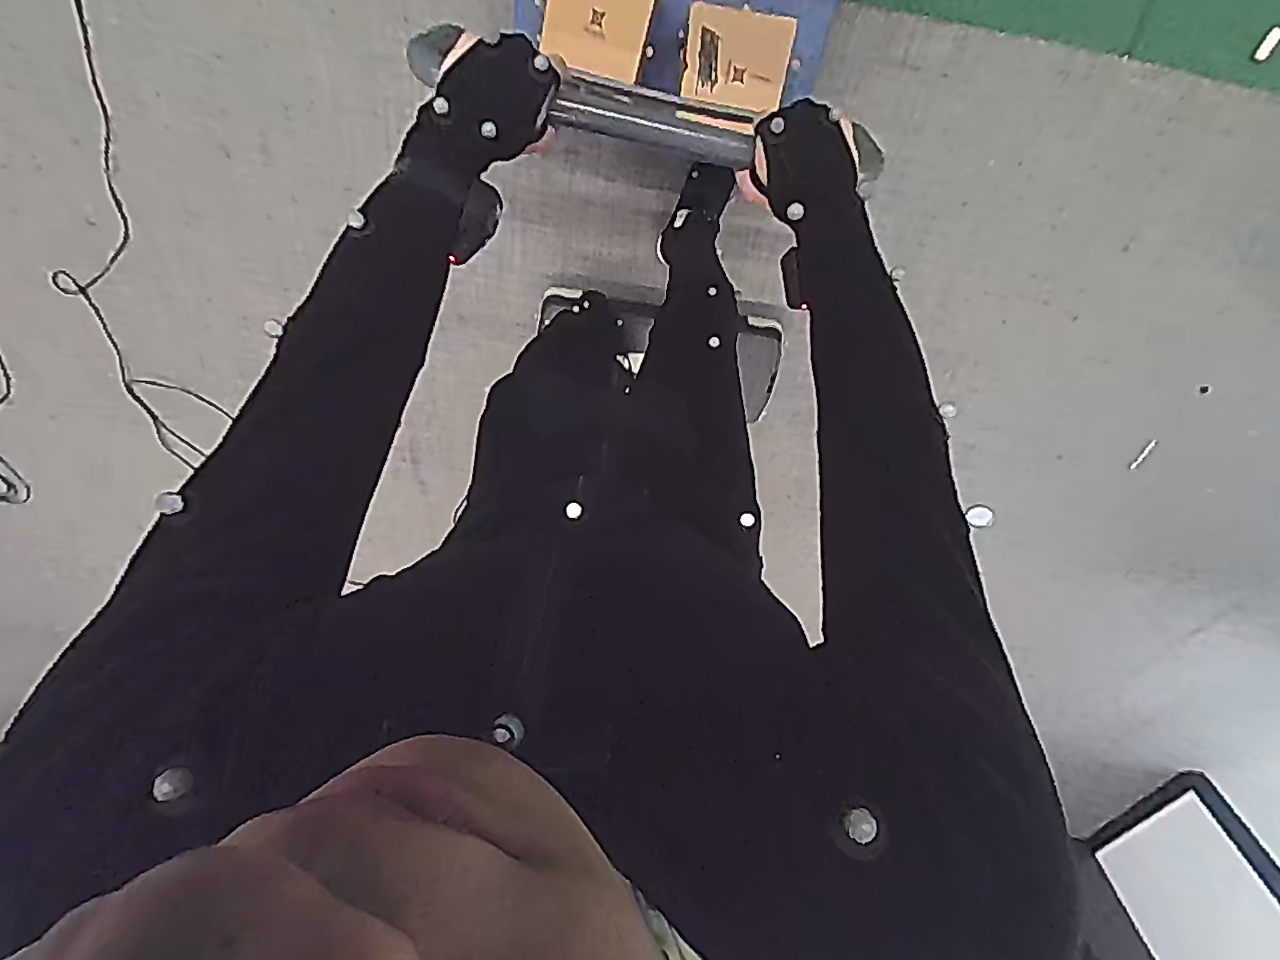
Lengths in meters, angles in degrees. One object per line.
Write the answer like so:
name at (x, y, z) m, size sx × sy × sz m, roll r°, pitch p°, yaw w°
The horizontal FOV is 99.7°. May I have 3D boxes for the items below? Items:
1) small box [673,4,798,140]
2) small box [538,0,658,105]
small box at (0.158, -0.721, 0.969) m, size 0.179 × 0.176 × 0.168 m, roll 6°, pitch 125°, yaw -4°
small box at (-0.069, -0.781, 0.939) m, size 0.168 × 0.176 × 0.179 m, roll 15°, pitch 124°, yaw -9°
